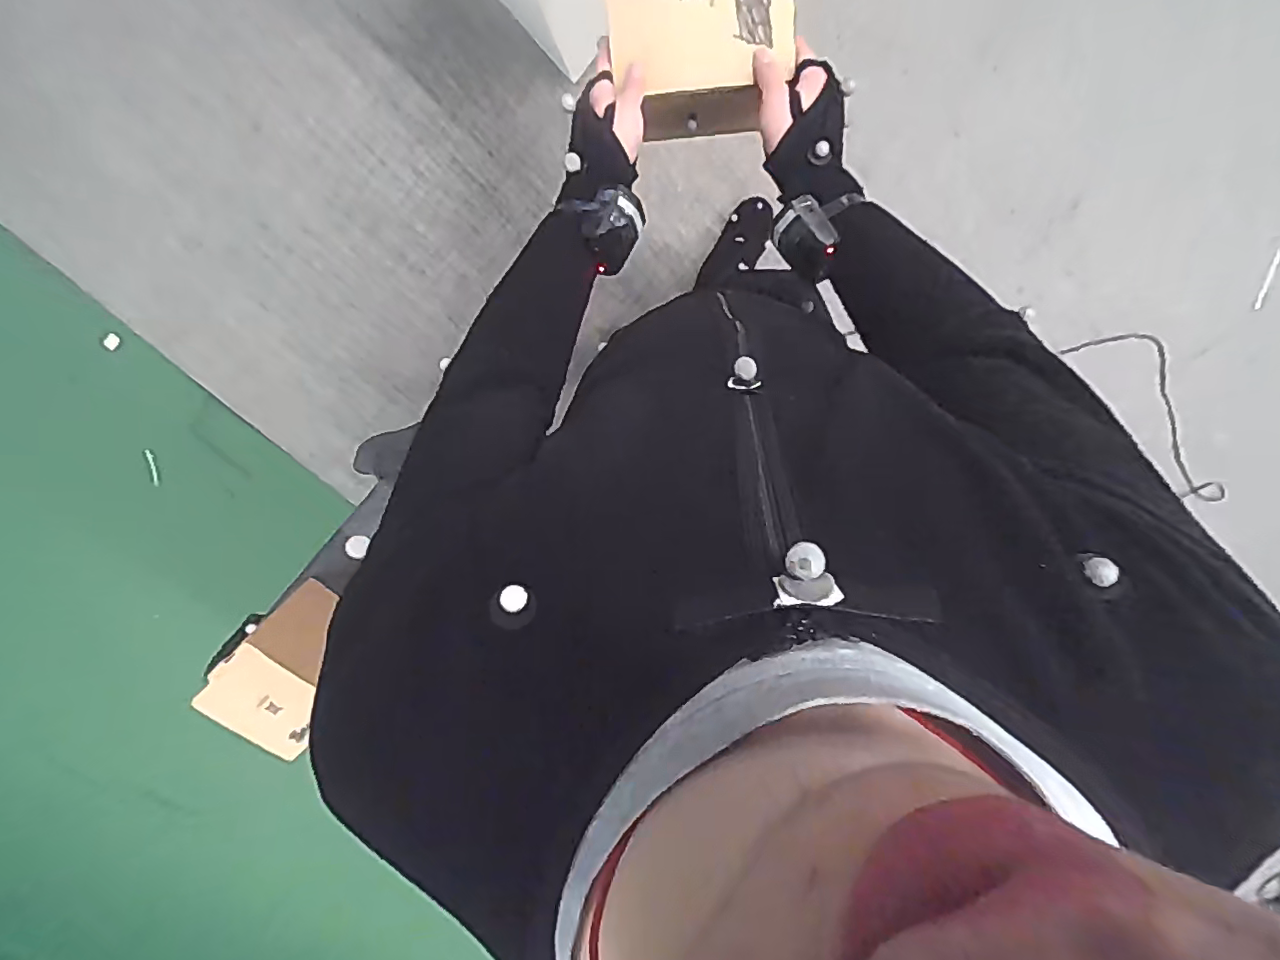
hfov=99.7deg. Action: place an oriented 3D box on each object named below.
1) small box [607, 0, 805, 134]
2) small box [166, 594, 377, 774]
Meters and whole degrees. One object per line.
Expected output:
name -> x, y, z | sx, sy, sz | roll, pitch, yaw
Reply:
small box -> 0.056, -0.472, 0.547 | 0.179, 0.176, 0.168 | -4, 108, 1
small box -> -0.561, 0.306, 0.848 | 0.168, 0.176, 0.179 | -42, 106, 15
